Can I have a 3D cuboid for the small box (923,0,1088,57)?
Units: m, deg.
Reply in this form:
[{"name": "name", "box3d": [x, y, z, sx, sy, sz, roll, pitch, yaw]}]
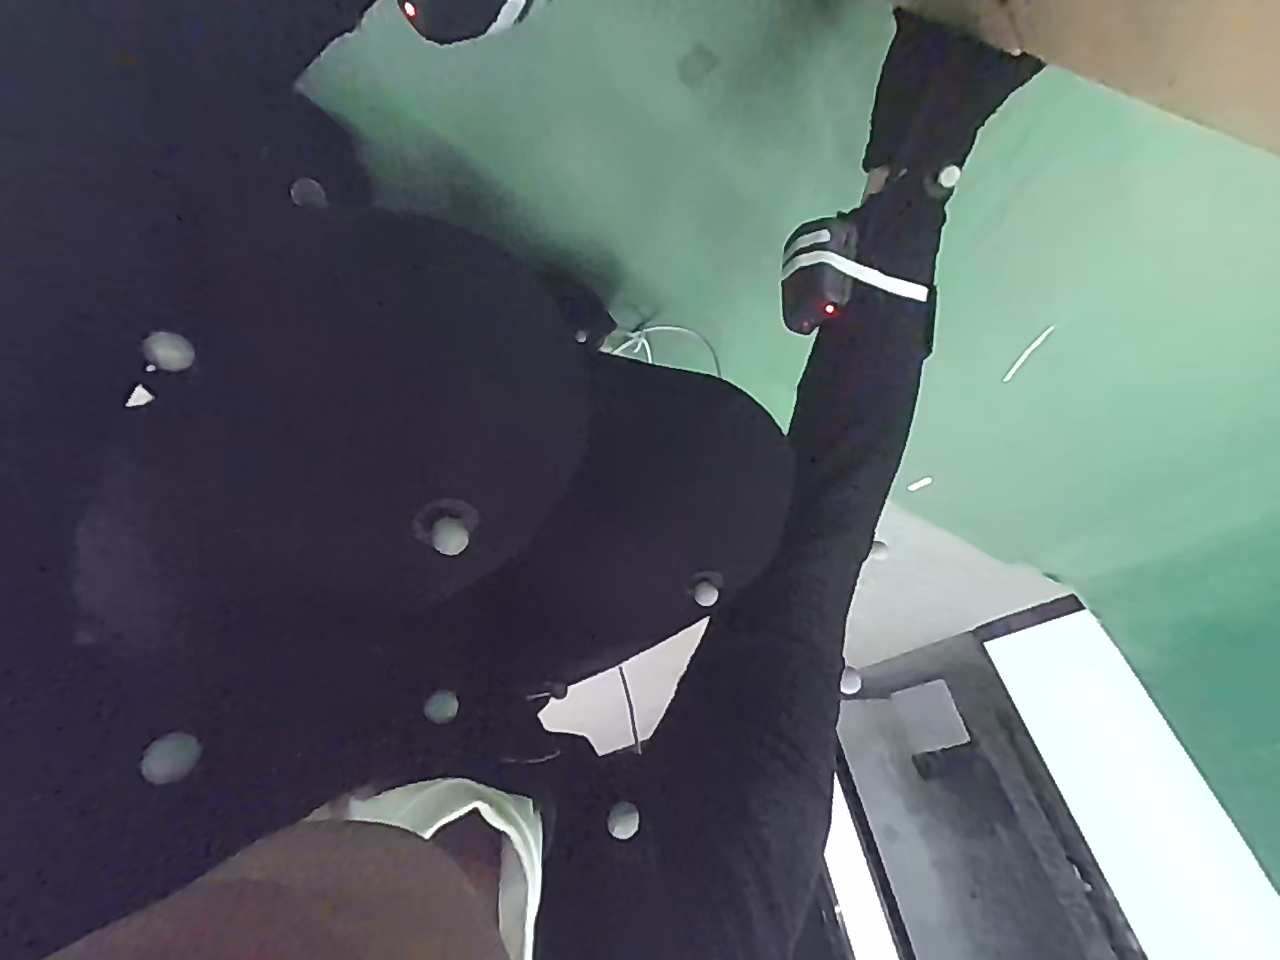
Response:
[{"name": "small box", "box3d": [0.184, -0.355, 0.241, 0.168, 0.176, 0.179, 22, 130, -40]}]
